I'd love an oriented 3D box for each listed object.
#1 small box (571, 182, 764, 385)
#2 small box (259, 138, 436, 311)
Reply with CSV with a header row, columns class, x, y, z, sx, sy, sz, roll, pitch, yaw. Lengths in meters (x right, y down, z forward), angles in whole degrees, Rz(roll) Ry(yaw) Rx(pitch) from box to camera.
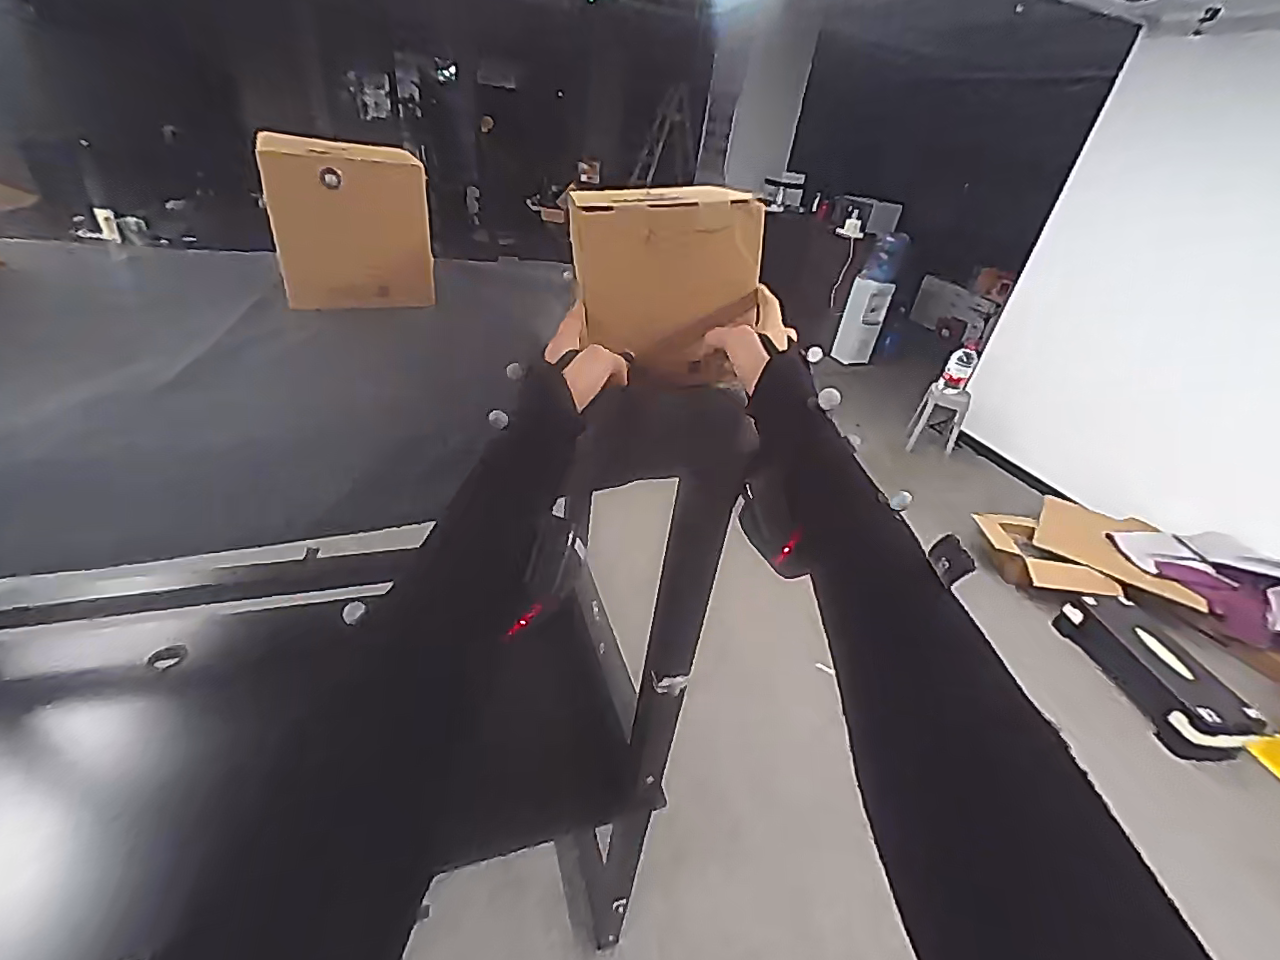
class,x,y,z,sx,sy,sz,roll,pitch,yaw
small box,0.022,-0.204,0.566,0.168,0.176,0.179,-7,32,-6
small box,-0.367,-0.323,0.690,0.168,0.176,0.179,-11,38,-27
